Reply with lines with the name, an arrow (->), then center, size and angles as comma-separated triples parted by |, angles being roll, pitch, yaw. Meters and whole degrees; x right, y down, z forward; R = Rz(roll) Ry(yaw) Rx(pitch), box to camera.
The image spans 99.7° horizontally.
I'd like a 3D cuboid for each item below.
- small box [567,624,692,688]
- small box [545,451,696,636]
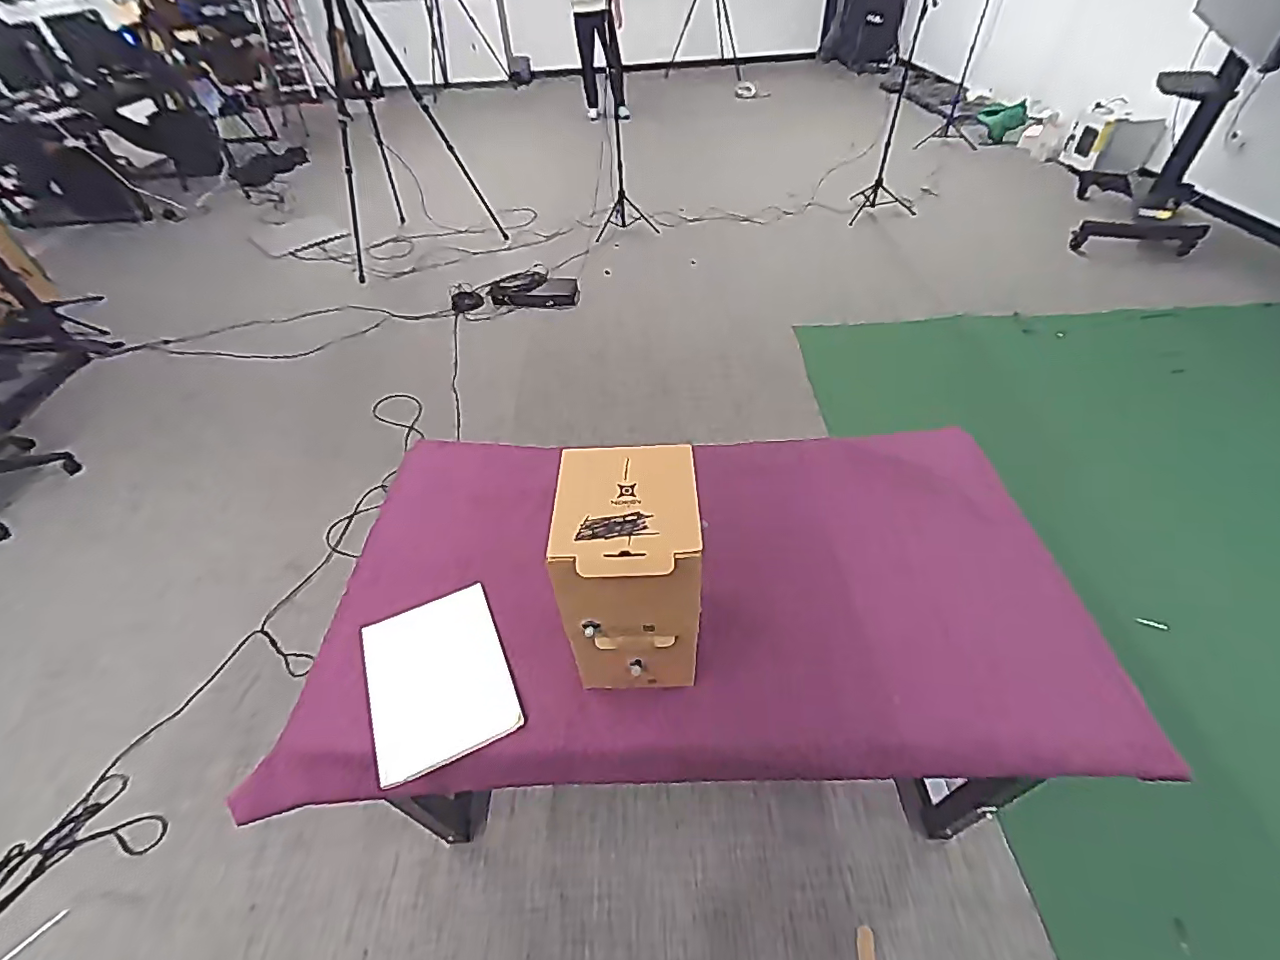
small box -> -0.009, 0.196, 0.805 | 0.168, 0.176, 0.179 | -1, 46, 1
small box -> -0.015, 0.084, 0.684 | 0.168, 0.176, 0.179 | -1, 44, 2
